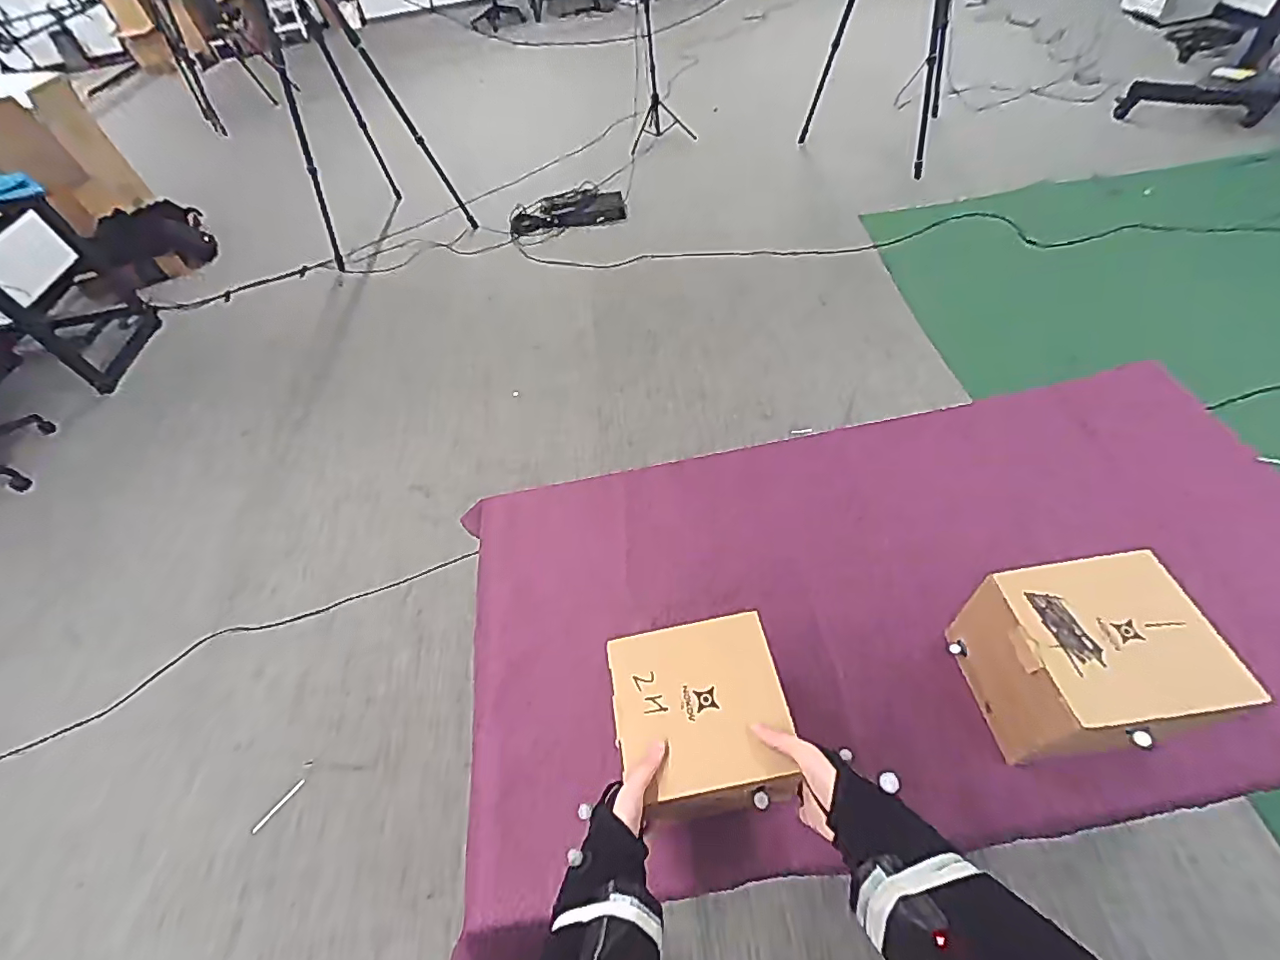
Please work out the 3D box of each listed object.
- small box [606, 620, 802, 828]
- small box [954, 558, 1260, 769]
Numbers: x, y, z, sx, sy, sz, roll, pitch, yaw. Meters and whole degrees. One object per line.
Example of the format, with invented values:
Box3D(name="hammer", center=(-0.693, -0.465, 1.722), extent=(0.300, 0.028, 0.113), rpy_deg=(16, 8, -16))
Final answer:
Box3D(name="small box", center=(0.066, 0.282, 0.618), extent=(0.179, 0.176, 0.168), rpy_deg=(-11, 51, 0))
Box3D(name="small box", center=(0.484, 0.210, 0.606), extent=(0.179, 0.176, 0.168), rpy_deg=(-9, 51, 2))
